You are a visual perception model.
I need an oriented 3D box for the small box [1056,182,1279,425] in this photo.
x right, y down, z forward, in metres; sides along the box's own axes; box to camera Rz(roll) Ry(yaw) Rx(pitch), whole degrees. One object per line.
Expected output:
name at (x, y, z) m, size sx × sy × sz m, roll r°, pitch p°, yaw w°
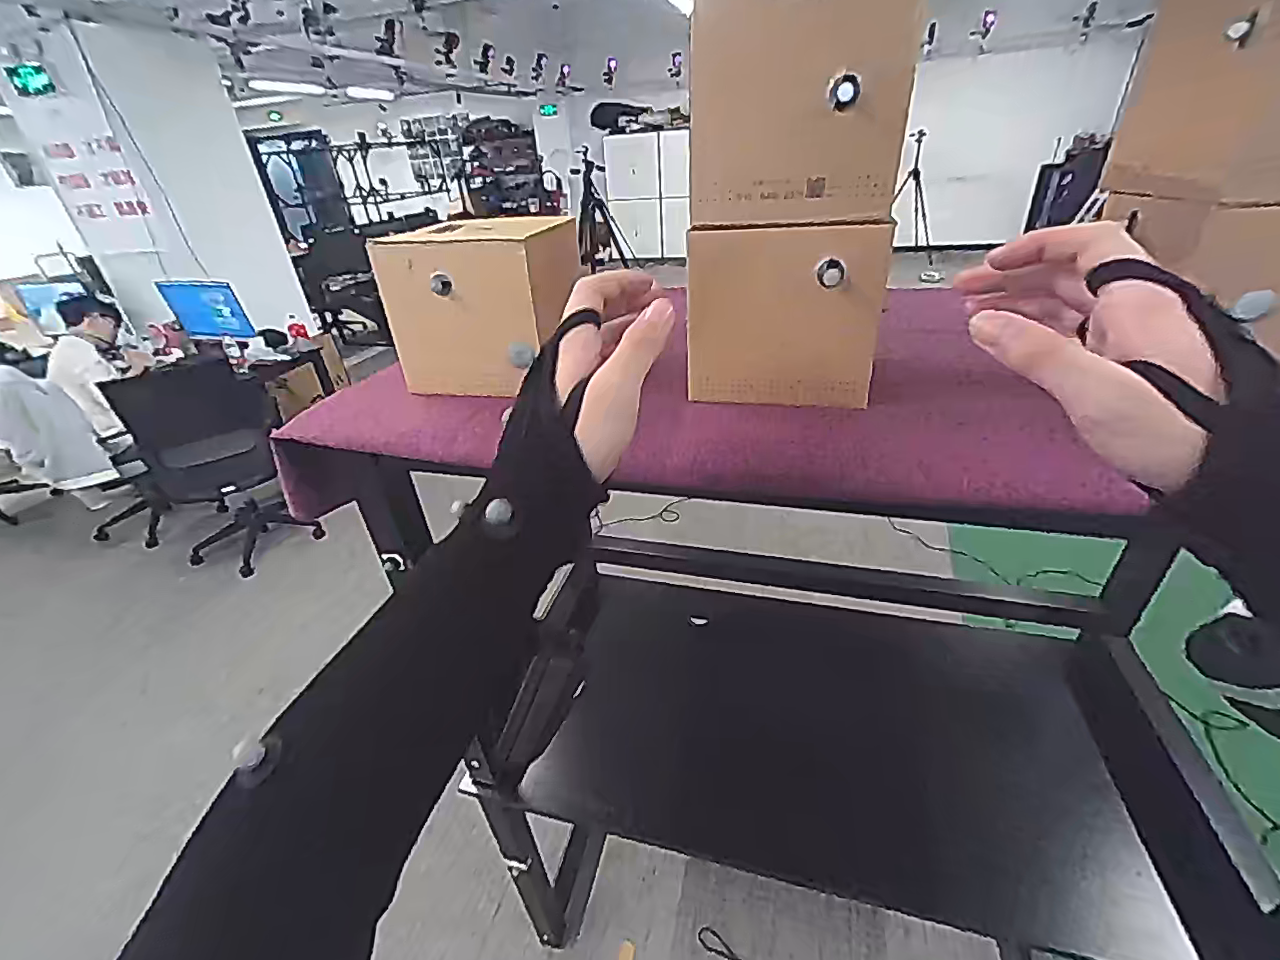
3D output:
small box at (0.507, -0.153, 0.463) m, size 0.179 × 0.176 × 0.168 m, roll 5°, pitch 30°, yaw 15°

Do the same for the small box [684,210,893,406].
small box at (0.150, -0.184, 0.565) m, size 0.179 × 0.176 × 0.168 m, roll 5°, pitch 31°, yaw 16°

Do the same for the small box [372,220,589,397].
small box at (-0.172, -0.206, 0.644) m, size 0.179 × 0.176 × 0.168 m, roll 4°, pitch 32°, yaw 13°

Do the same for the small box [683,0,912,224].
small box at (0.139, -0.329, 0.489) m, size 0.168 × 0.176 × 0.179 m, roll 6°, pitch 32°, yaw 15°
